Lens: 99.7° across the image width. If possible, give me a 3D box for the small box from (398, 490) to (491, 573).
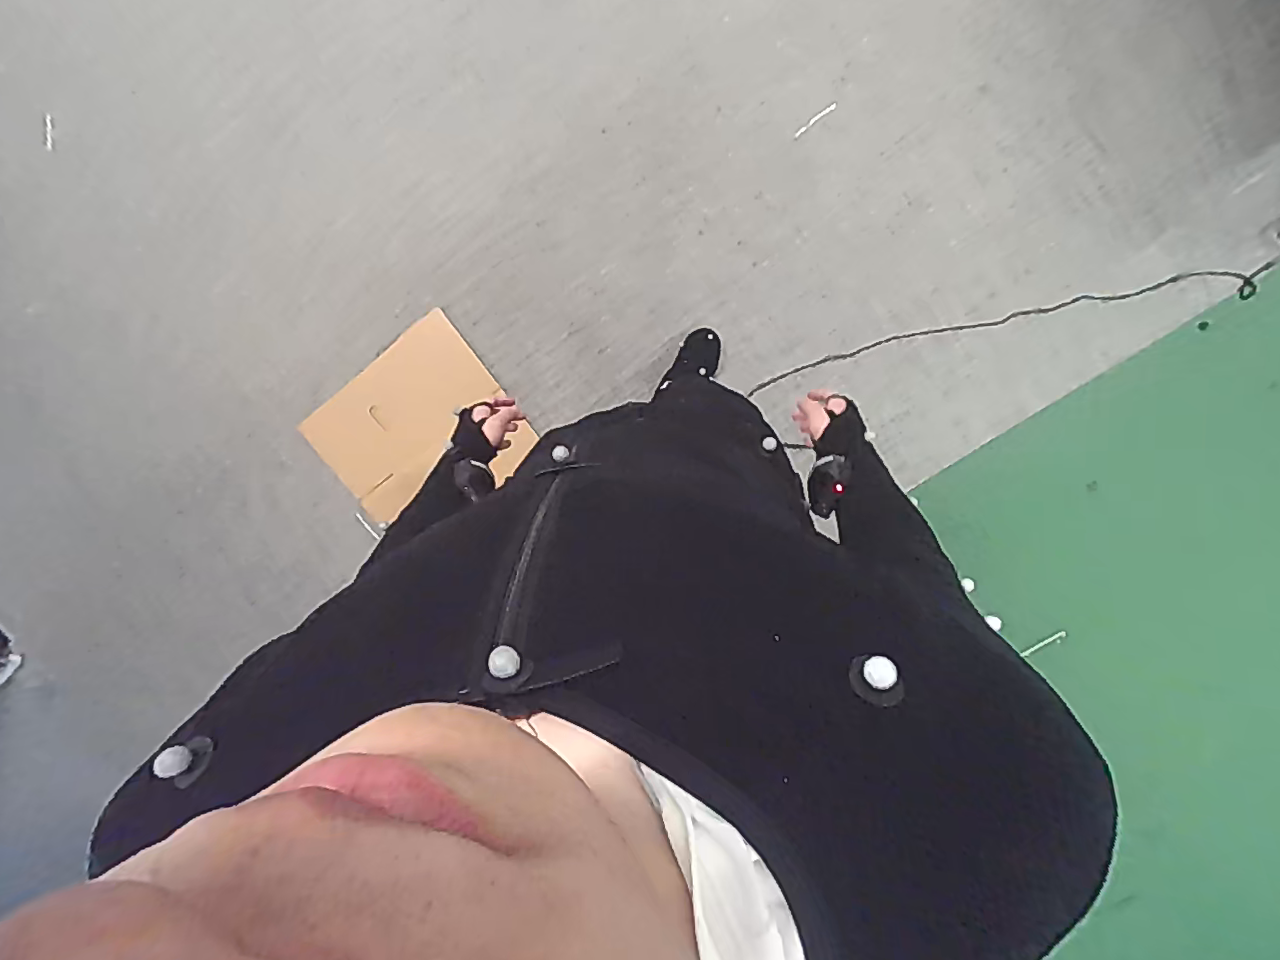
[{"bbox_3d":[-0.581,0.145,1.628,0.168,0.176,0.179,-27,100,10],"label":"small box"}]
